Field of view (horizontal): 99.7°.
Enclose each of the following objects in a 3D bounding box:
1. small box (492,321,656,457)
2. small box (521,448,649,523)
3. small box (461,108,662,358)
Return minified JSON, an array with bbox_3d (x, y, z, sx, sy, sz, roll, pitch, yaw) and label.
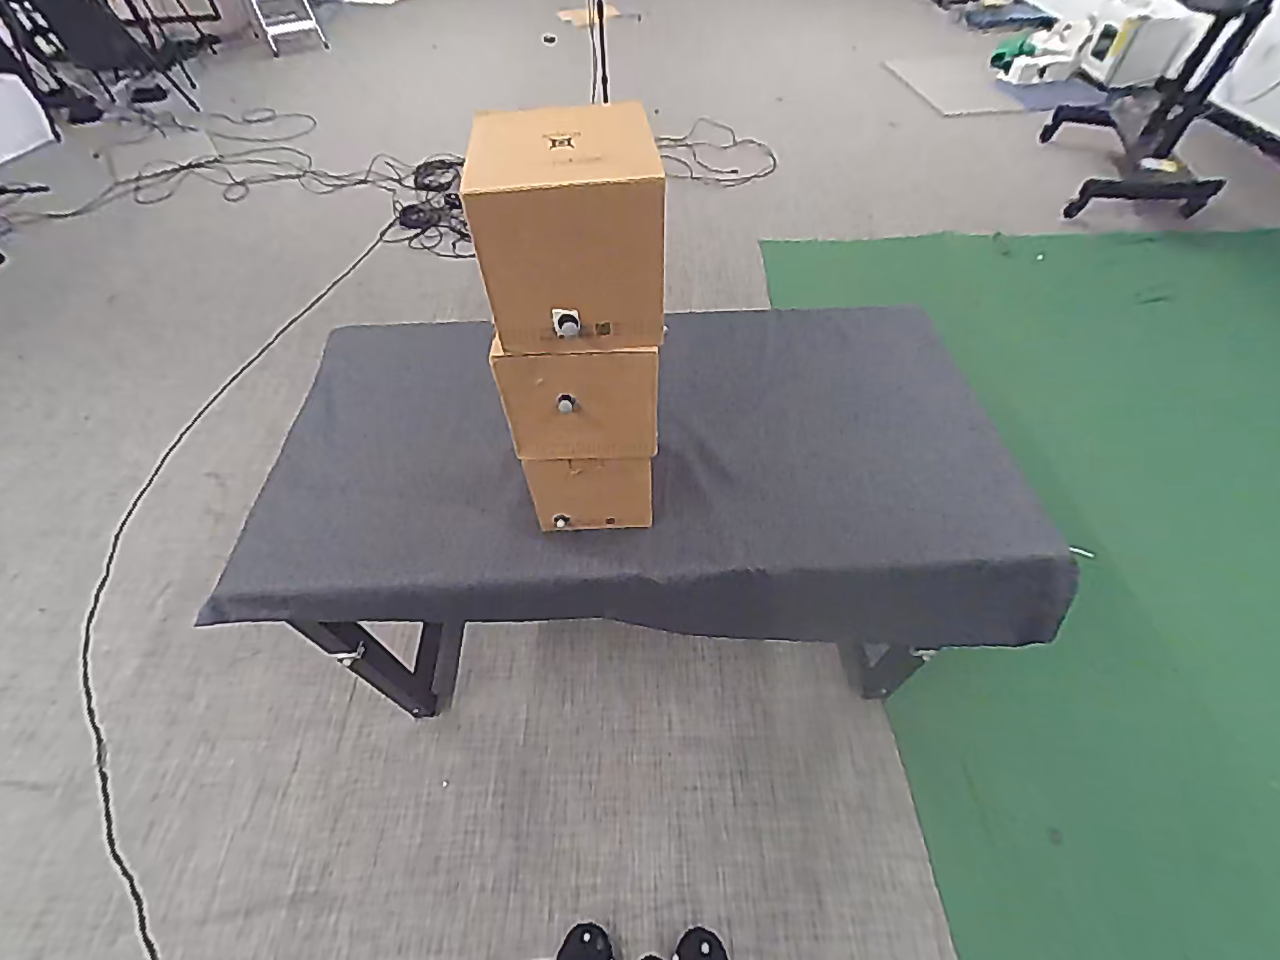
[{"bbox_3d":[-0.072,-0.142,0.677,0.179,0.176,0.168,-3,50,-3],"label":"small box"},{"bbox_3d":[-0.072,-0.047,0.806,0.168,0.176,0.179,-2,51,0],"label":"small box"},{"bbox_3d":[-0.071,-0.248,0.550,0.168,0.176,0.179,-7,53,-3],"label":"small box"}]
